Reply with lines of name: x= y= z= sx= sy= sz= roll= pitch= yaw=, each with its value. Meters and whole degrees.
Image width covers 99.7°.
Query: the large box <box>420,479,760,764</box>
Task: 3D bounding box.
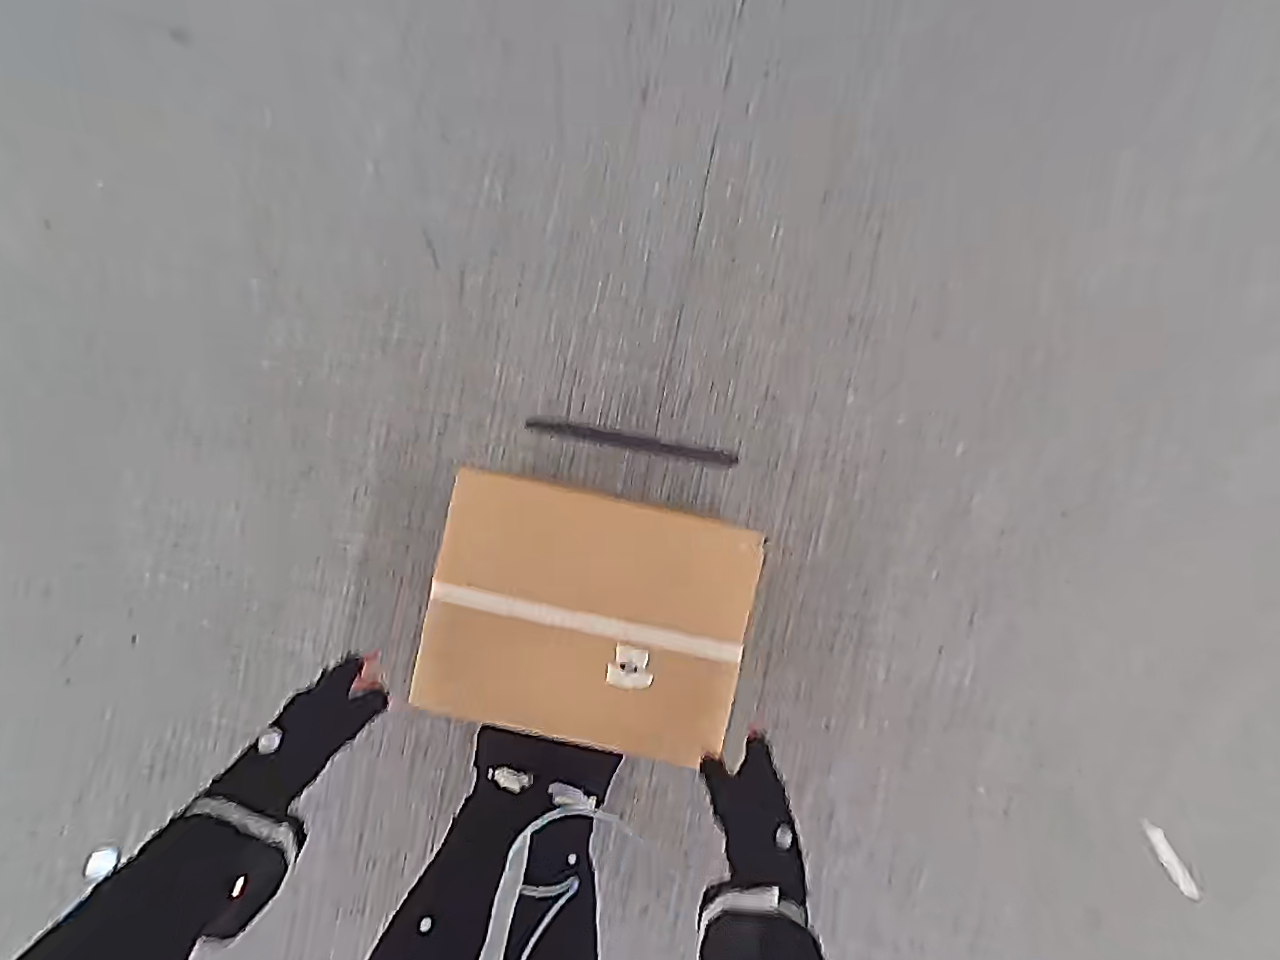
large box: x=-0.069 y=0.187 z=0.854 sx=0.408 sy=0.320 sz=0.320 roll=12 pitch=90 yaw=-1
